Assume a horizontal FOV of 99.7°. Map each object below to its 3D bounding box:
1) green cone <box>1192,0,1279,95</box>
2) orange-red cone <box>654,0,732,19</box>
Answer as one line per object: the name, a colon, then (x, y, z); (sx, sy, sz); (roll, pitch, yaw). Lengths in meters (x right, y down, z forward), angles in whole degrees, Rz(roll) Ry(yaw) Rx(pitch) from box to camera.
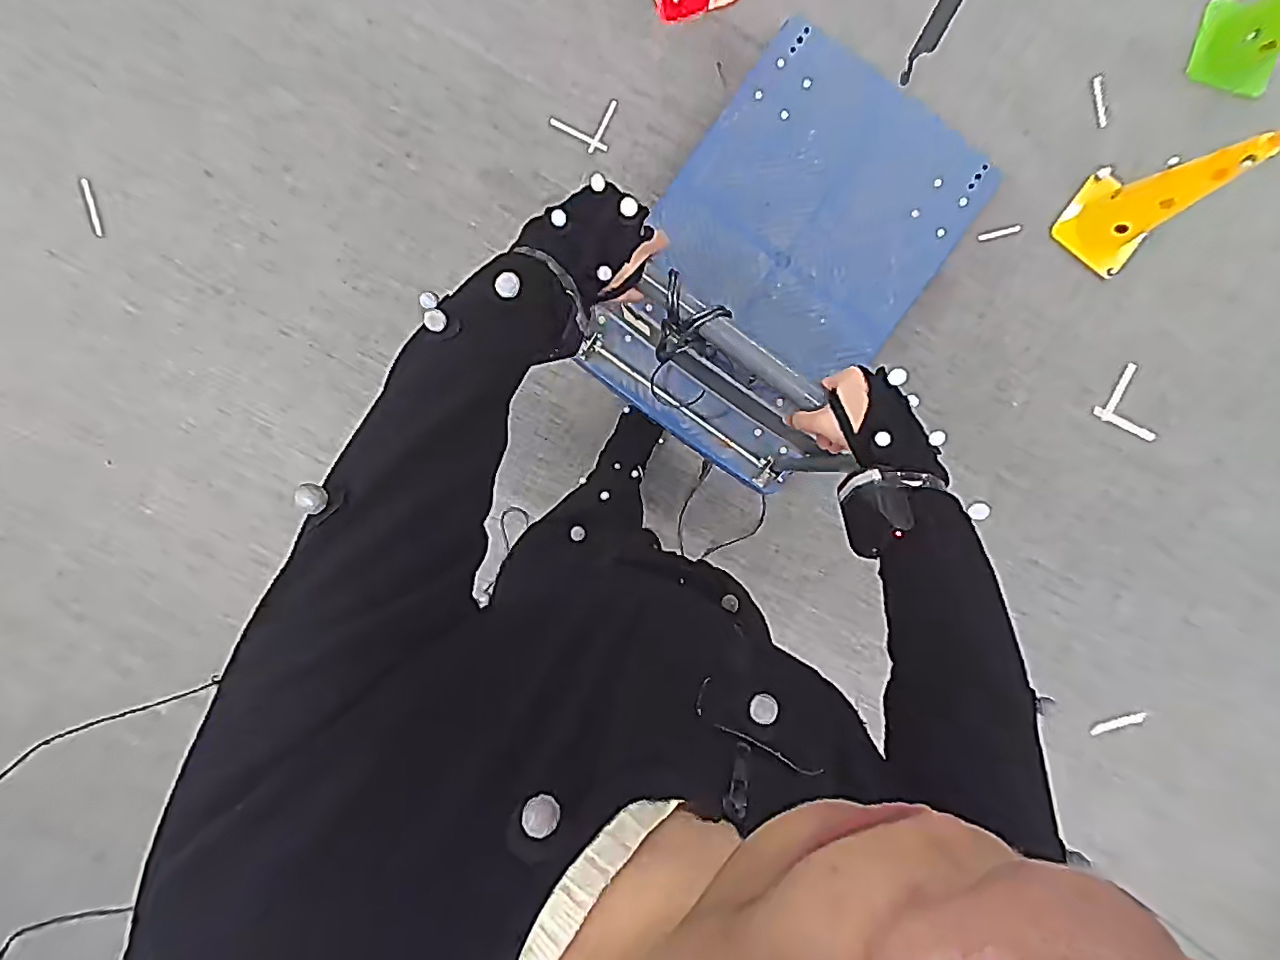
green cone: (1.460, -1.044, 1.143); (0.200, 0.368, 0.202); (14, 94, -2)
orange-red cone: (0.122, -1.202, 1.110); (0.199, 0.360, 0.198); (-17, 94, -1)
